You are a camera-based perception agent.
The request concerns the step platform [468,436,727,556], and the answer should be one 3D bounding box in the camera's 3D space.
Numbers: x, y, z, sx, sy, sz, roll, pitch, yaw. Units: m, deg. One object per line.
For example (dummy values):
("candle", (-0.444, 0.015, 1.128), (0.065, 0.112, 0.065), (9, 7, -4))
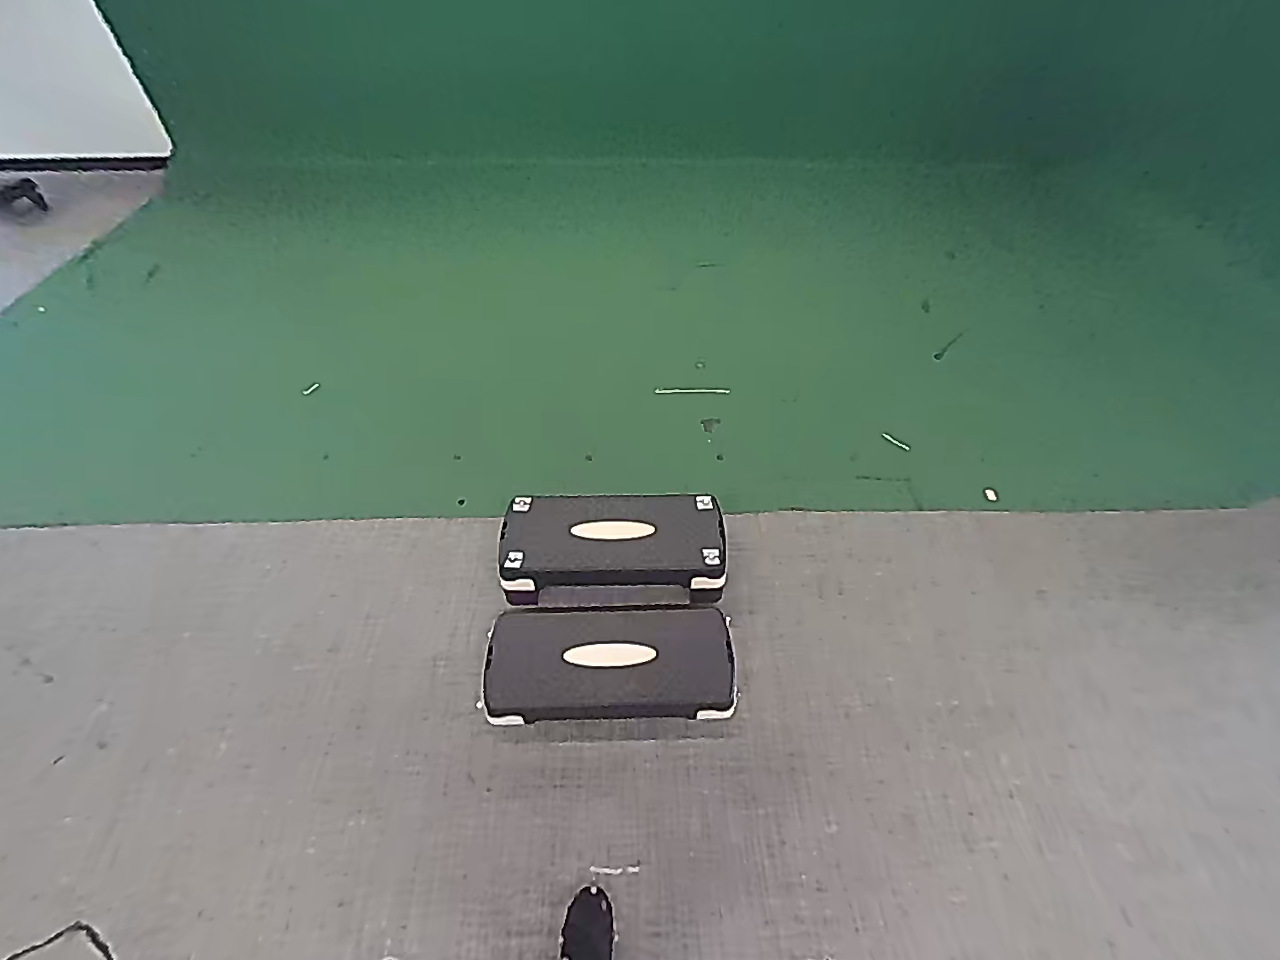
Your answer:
("step platform", (-0.110, 0.046, 1.518), (0.684, 0.204, 0.286), (-1, 50, -1))
